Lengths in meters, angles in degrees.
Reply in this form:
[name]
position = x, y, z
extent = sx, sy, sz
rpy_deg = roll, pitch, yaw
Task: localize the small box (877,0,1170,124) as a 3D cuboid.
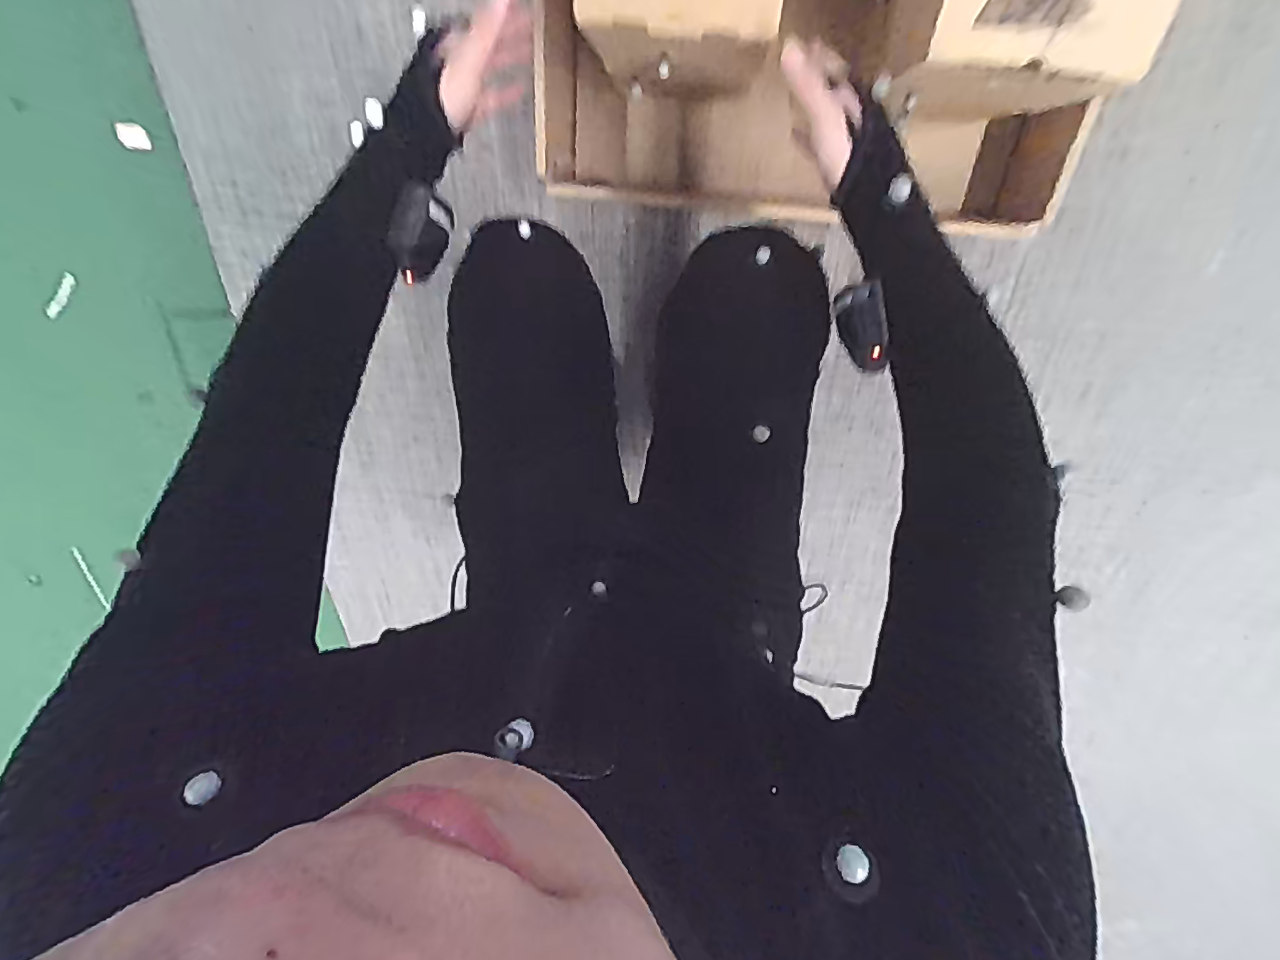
[small box]
position = 0.322, -0.423, 0.461
extent = 0.168, 0.176, 0.179
rpy_deg = 9, 117, 3
